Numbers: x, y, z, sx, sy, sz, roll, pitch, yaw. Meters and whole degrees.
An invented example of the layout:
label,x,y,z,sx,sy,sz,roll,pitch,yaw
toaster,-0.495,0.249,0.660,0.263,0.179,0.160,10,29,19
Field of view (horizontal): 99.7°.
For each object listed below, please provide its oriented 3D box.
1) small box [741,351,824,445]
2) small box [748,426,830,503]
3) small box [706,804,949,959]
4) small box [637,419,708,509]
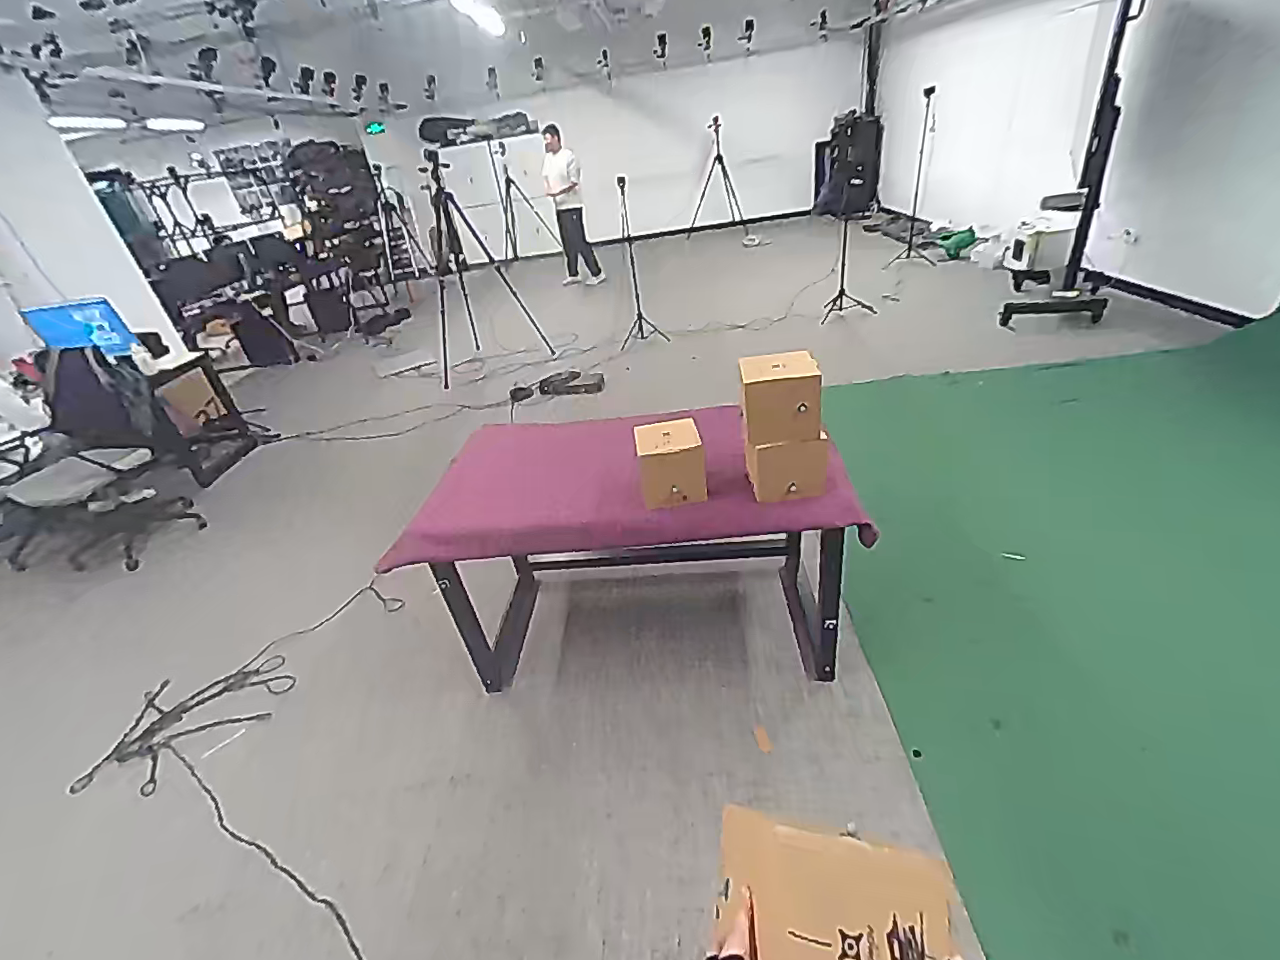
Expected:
label,x,y,z,sx,sy,sz,roll,pitch,yaw
small box,0.343,-0.200,1.323,0.179,0.176,0.168,-5,32,9
small box,0.378,-0.059,1.401,0.179,0.176,0.168,-8,31,3
small box,0.180,0.442,0.546,0.179,0.176,0.168,13,64,-2
small box,0.086,-0.044,1.457,0.168,0.176,0.179,-9,31,2
